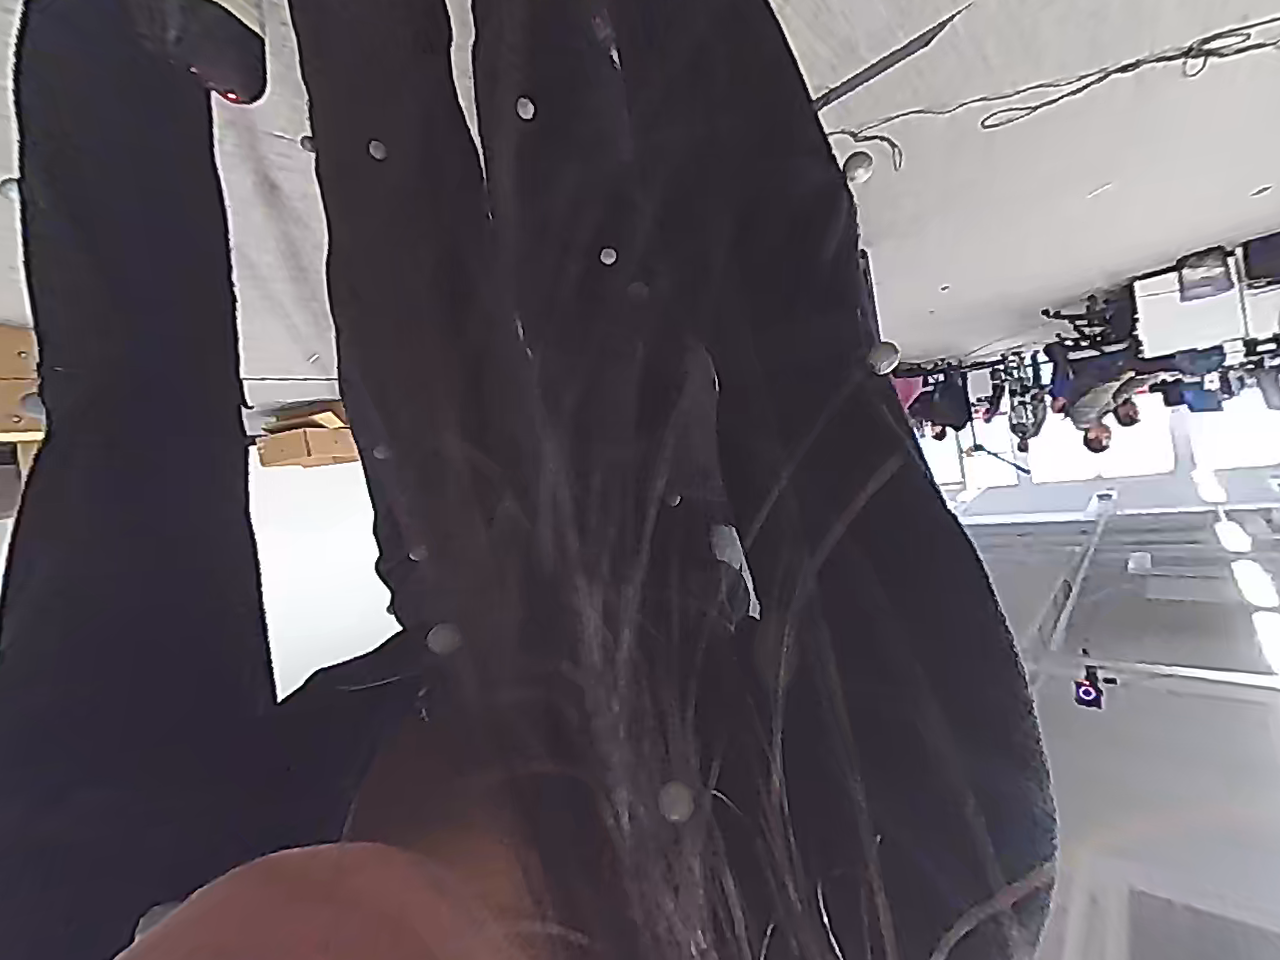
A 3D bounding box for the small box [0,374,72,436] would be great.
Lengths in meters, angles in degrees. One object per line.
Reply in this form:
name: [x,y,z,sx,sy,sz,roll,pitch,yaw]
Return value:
small box: [-1.967,-0.240,1.730,0.168,0.176,0.179,-7,-177,39]
